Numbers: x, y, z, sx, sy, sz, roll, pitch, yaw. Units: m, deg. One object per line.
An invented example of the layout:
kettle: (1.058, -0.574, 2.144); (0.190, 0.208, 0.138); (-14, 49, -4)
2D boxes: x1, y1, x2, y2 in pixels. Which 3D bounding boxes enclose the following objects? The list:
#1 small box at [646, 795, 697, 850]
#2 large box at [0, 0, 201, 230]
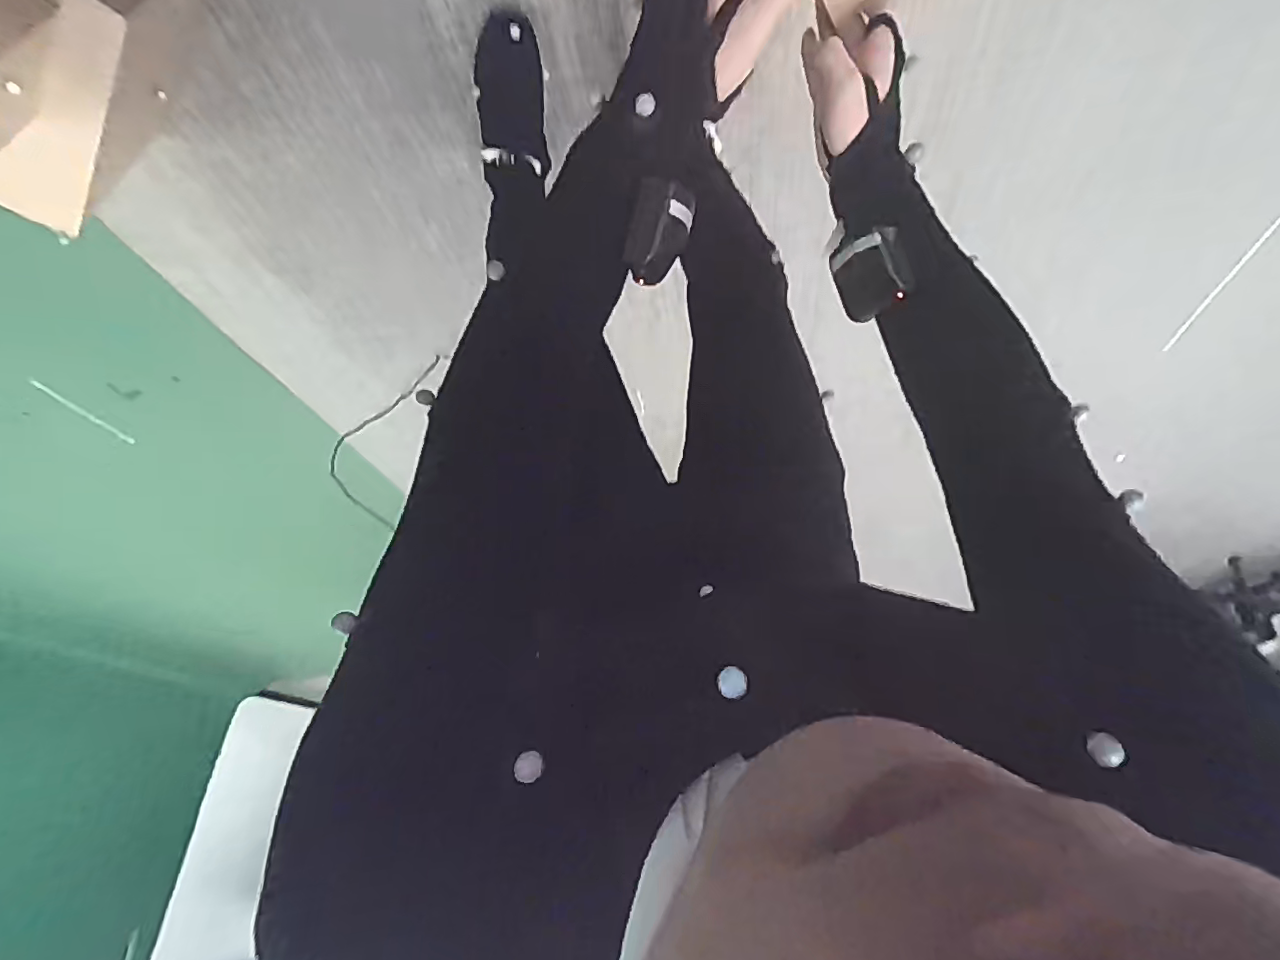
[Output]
small box: (0.117, 1.272, 2.014); (0.168, 0.176, 0.179); (-7, 148, 9)
large box: (-0.822, -0.639, 0.700); (0.408, 0.320, 0.320); (-26, 141, 36)
